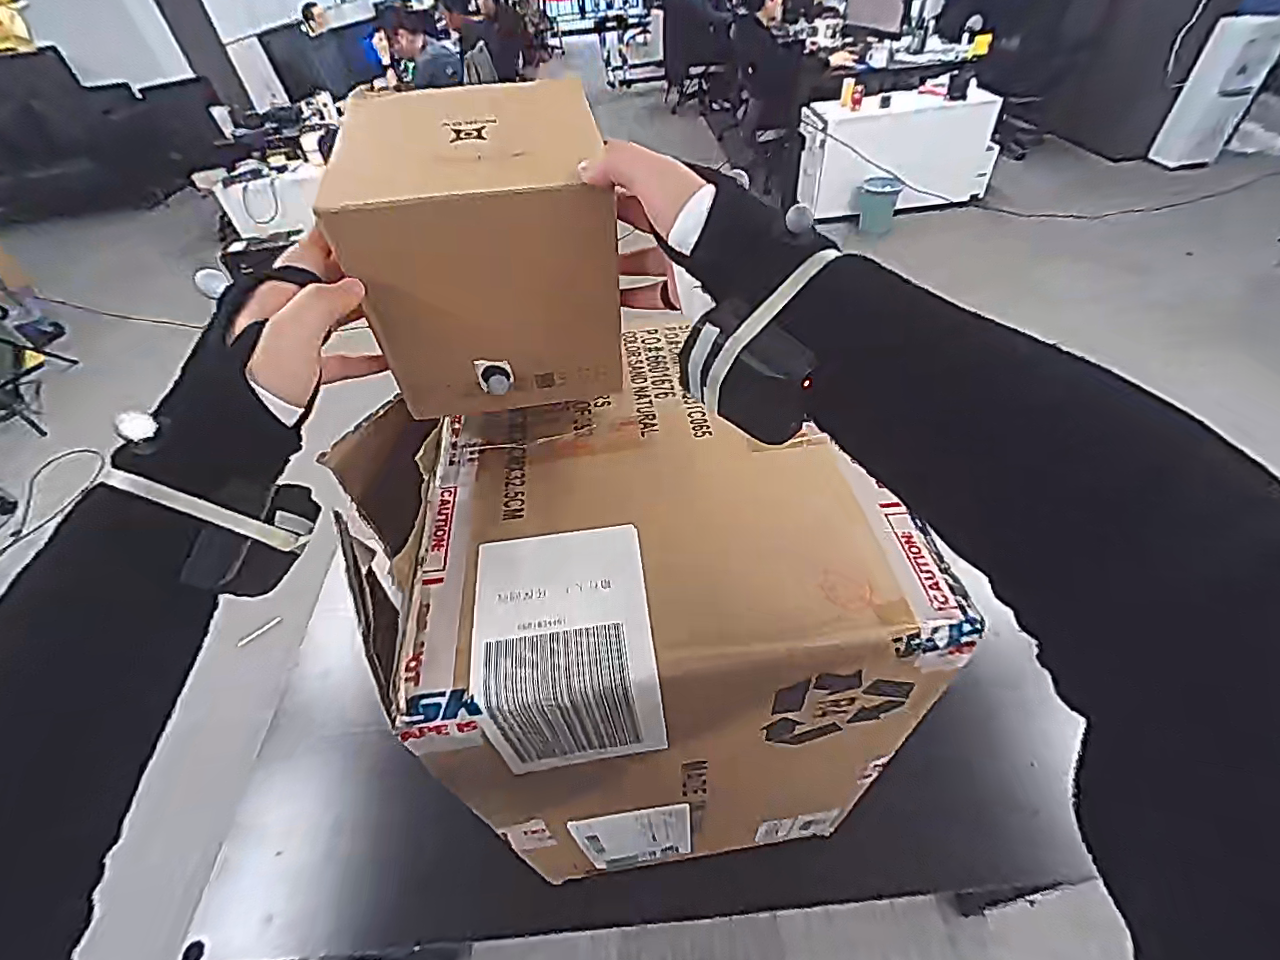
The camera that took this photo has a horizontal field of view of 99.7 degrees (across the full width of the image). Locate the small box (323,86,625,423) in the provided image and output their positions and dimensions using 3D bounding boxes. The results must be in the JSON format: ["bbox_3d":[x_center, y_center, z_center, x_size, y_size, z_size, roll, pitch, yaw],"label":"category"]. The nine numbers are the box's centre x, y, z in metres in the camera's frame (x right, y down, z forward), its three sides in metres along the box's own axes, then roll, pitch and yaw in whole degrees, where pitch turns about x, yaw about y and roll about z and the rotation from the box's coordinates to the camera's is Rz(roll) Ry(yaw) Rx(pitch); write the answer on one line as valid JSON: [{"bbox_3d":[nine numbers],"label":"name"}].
[{"bbox_3d":[-0.108,-0.170,0.415,0.168,0.176,0.179,-10,53,-6],"label":"small box"}]
